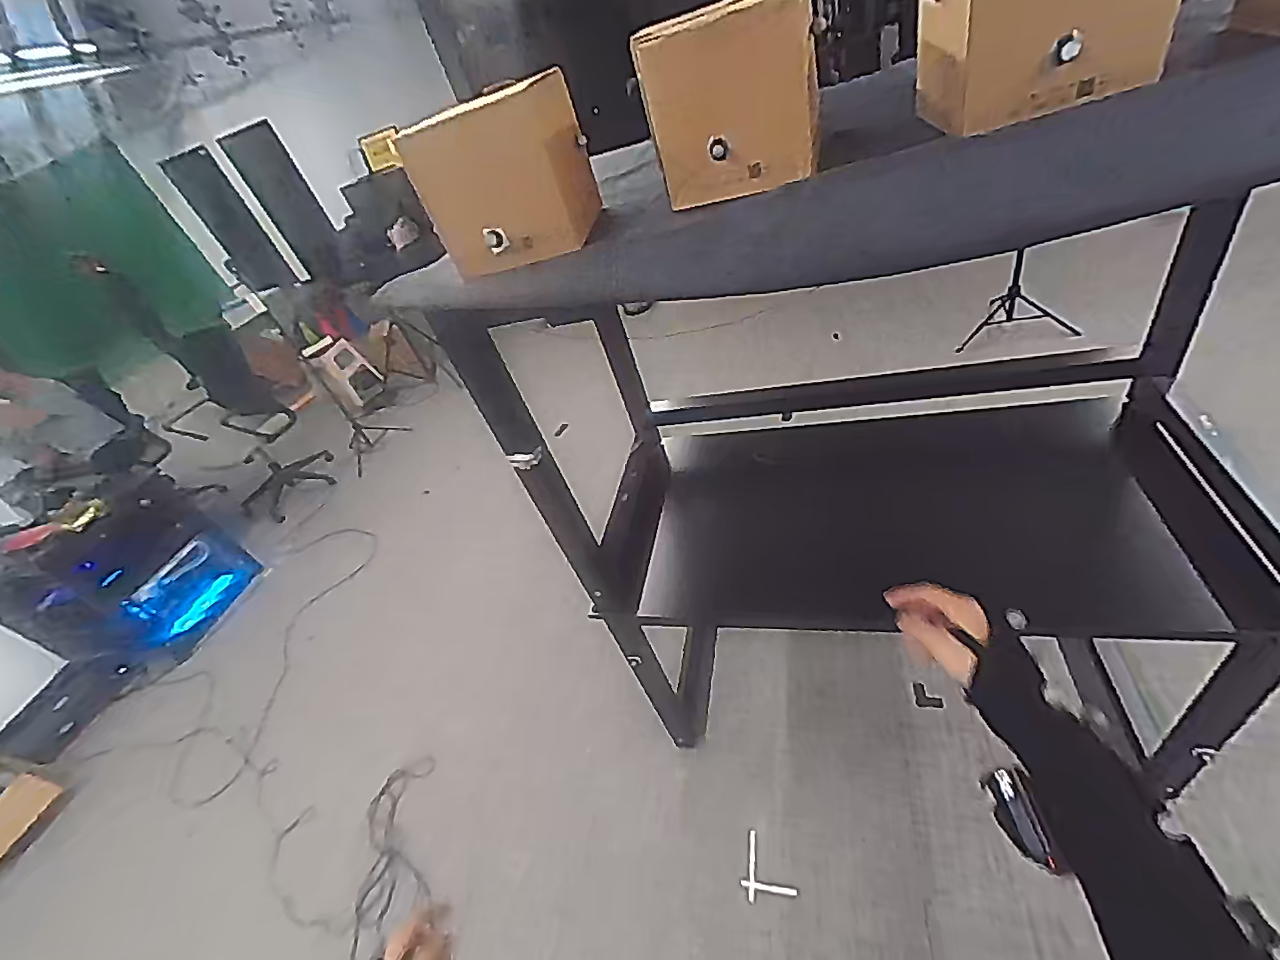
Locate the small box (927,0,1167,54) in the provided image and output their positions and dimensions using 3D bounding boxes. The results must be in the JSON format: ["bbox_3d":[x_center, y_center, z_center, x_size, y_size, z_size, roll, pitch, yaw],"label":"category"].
[{"bbox_3d":[0.375,-0.518,0.494,0.168,0.176,0.179,-8,41,16],"label":"small box"}]

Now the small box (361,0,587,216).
[{"bbox_3d":[-0.172,-0.433,0.631,0.168,0.176,0.179,-9,41,16],"label":"small box"}]
